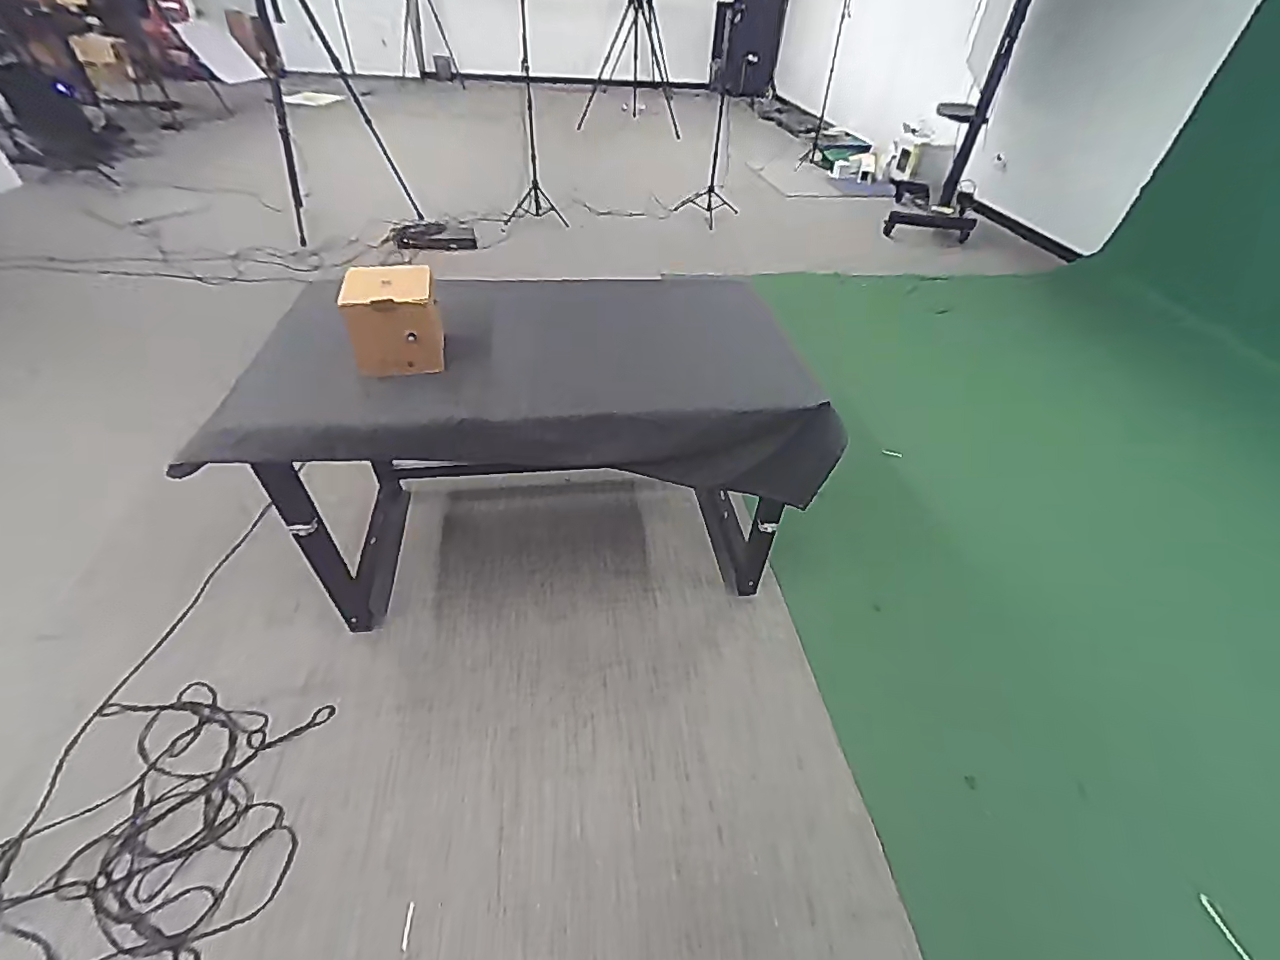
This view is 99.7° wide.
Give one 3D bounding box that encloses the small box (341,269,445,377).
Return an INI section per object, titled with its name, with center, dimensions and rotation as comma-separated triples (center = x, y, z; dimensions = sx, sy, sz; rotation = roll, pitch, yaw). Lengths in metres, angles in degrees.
[small box]
center = -0.512, -0.331, 1.149
dimensions = 0.168, 0.176, 0.179
rotation = -7, 43, -14
